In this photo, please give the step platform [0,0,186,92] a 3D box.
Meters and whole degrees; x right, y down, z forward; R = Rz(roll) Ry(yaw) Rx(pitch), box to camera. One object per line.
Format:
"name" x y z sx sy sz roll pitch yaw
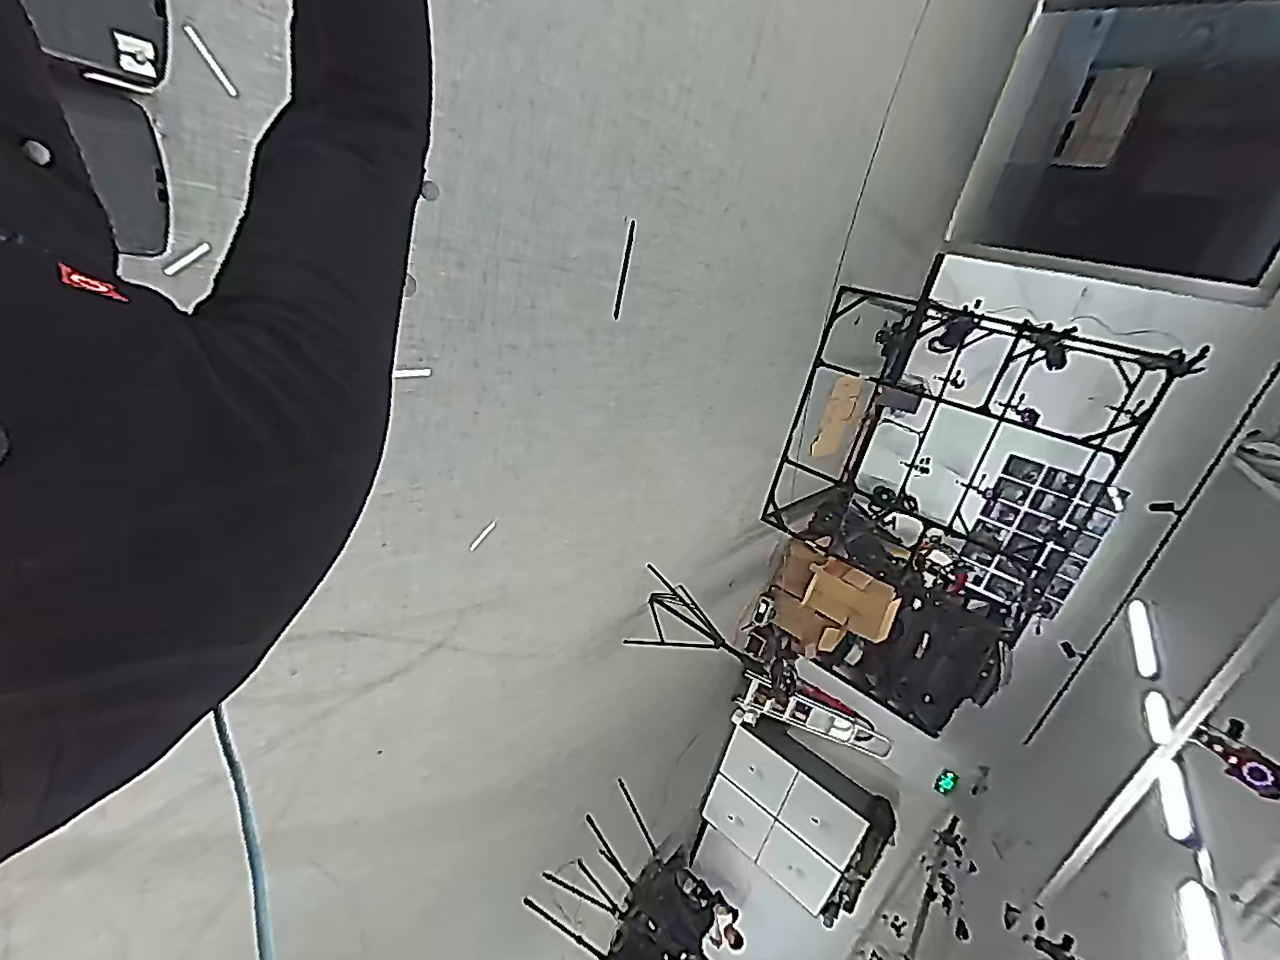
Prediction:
"step platform" -1.055 -0.795 0.725 0.684 0.204 0.286 -18 127 -50
